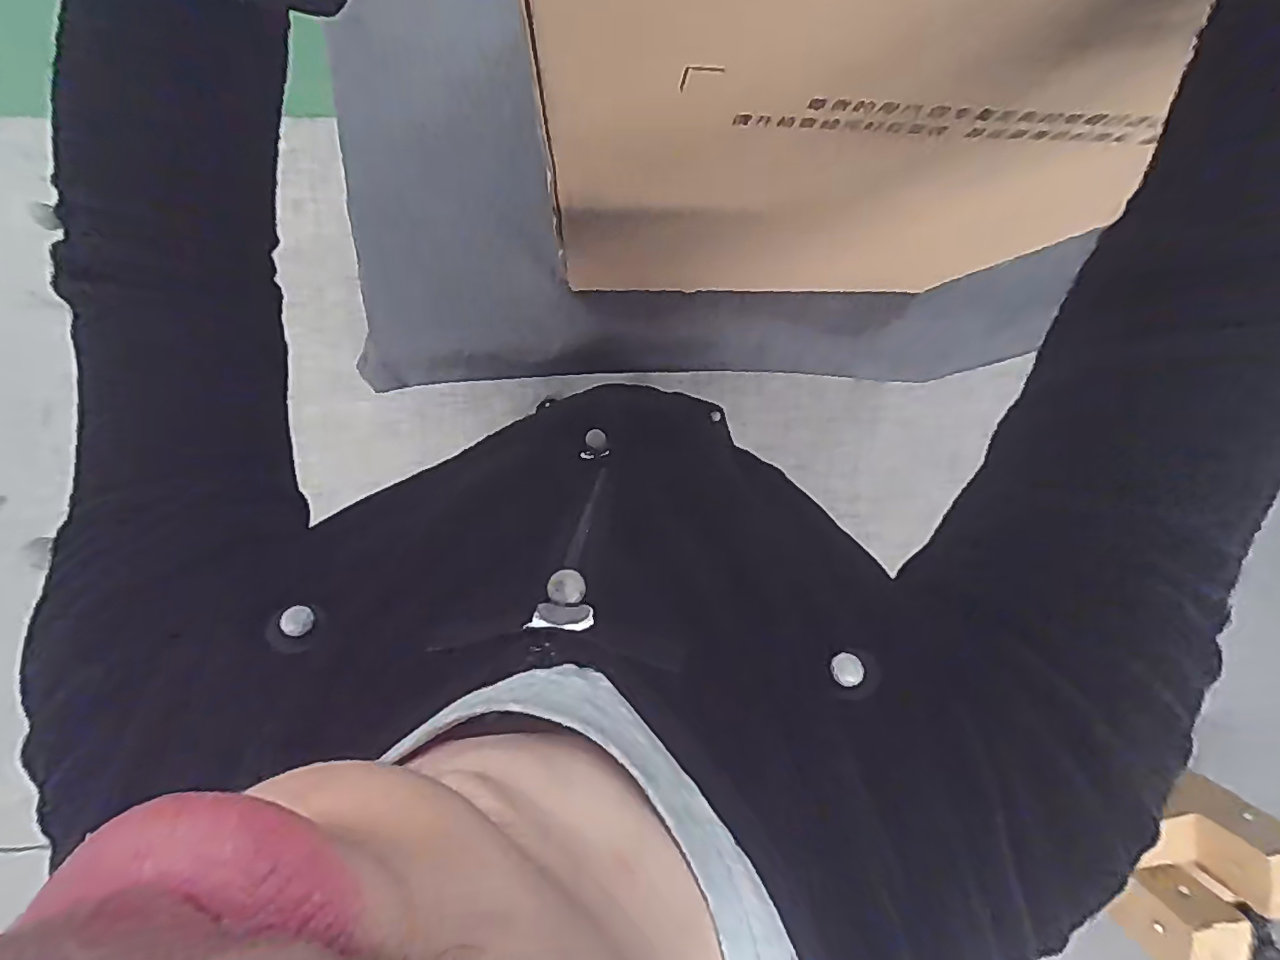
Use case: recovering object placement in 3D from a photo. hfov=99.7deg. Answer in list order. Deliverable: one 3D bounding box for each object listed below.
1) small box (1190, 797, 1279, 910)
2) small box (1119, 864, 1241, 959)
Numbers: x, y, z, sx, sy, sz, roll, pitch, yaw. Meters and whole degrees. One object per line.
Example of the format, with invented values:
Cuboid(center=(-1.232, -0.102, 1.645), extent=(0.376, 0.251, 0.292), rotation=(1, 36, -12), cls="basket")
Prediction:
Cuboid(center=(1.643, 0.998, 1.456), extent=(0.168, 0.176, 0.179), rotation=(-7, 94, -6), cls="small box")
Cuboid(center=(1.441, 1.173, 1.453), extent=(0.168, 0.176, 0.179), rotation=(-4, 98, -6), cls="small box")
